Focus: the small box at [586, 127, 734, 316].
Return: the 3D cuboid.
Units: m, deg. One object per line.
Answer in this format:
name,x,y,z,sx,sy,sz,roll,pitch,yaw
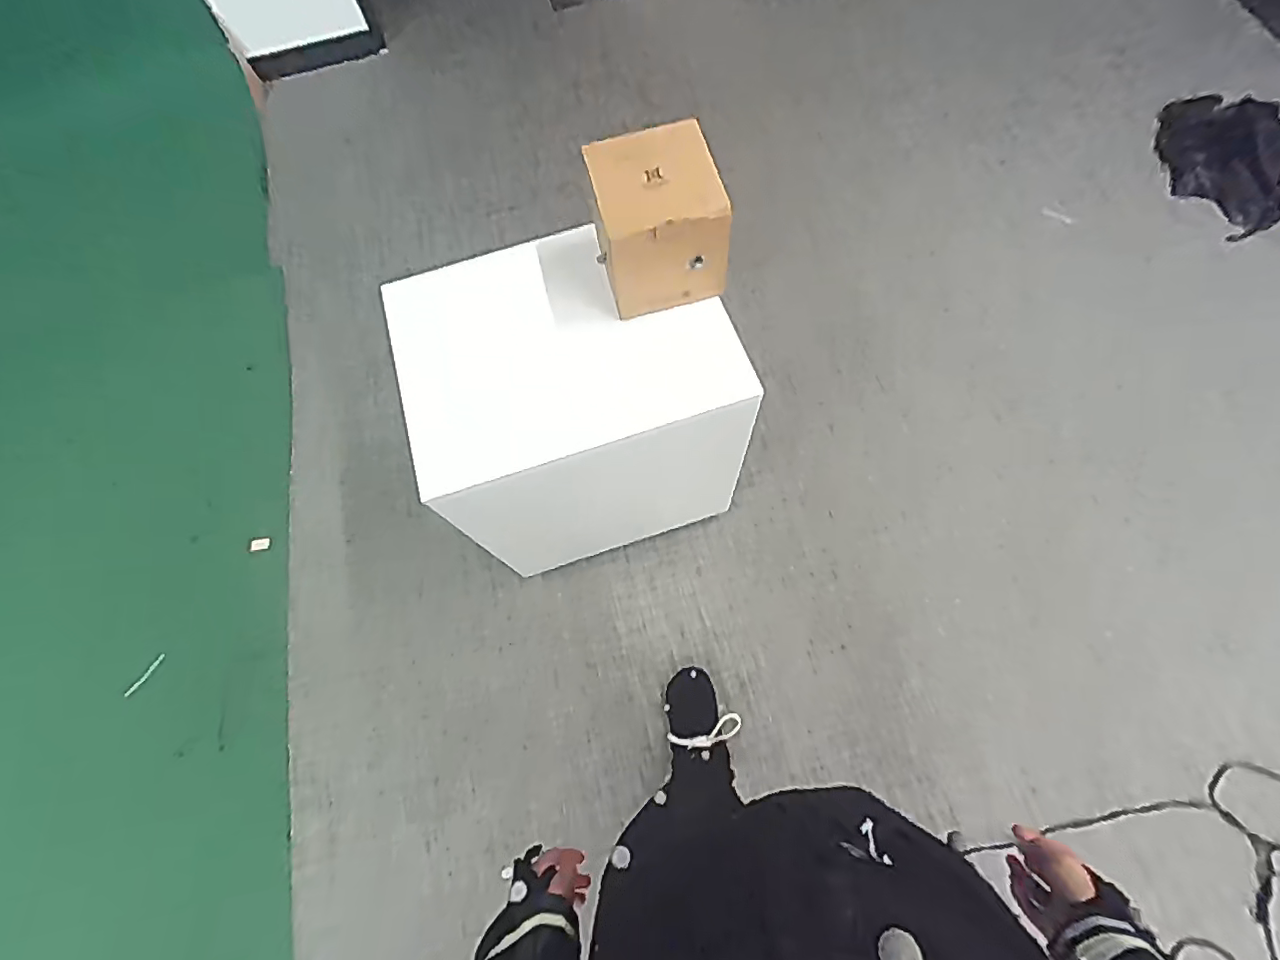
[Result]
small box,0.028,-0.363,0.789,0.168,0.176,0.179,-14,68,-2
